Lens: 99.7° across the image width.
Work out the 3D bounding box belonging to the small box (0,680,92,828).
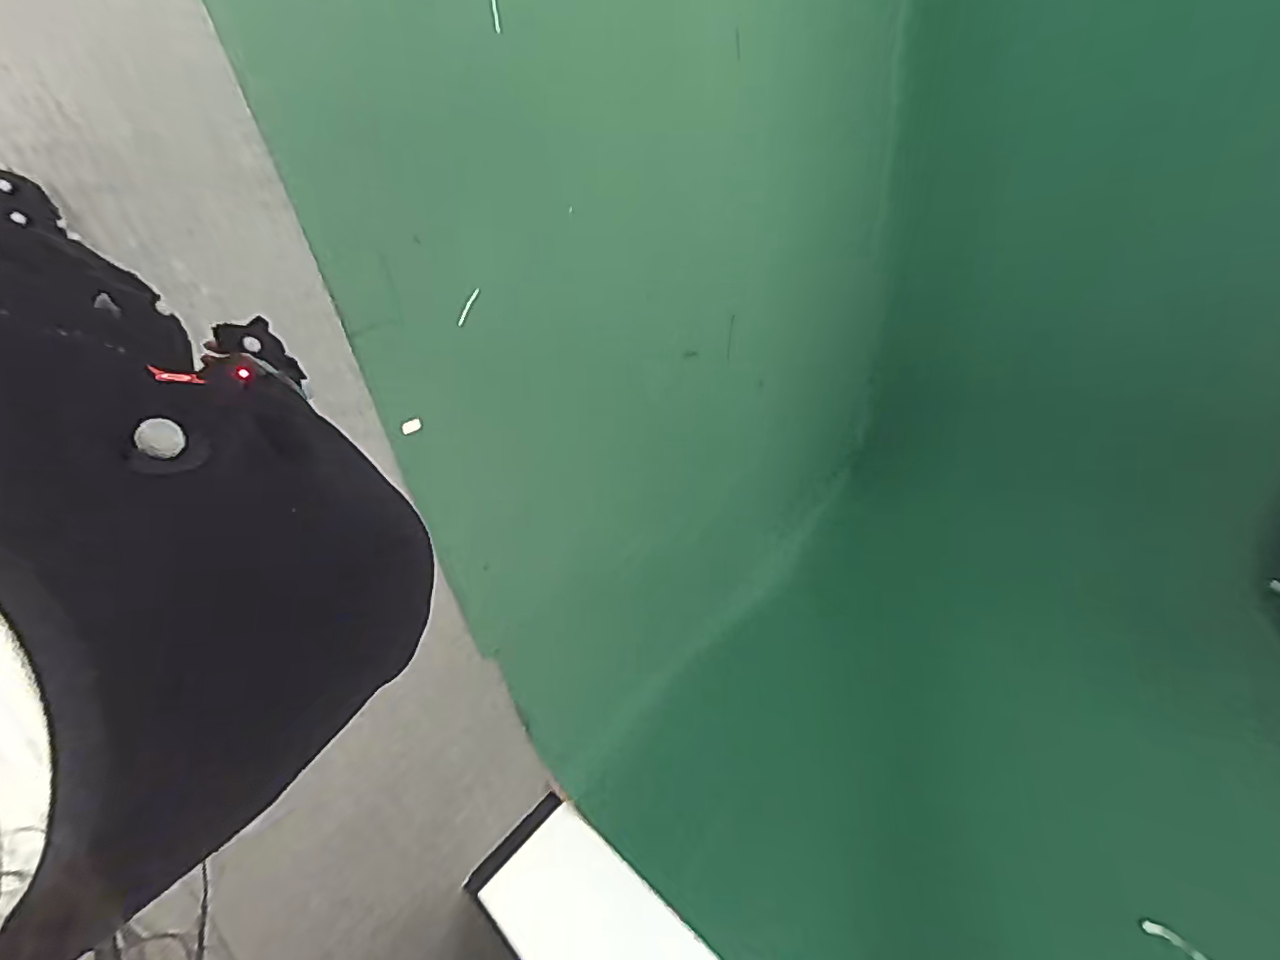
[{"bbox_3d":[-1.205,0.526,1.032,0.179,0.176,0.168,-31,127,-36],"label":"small box"}]
